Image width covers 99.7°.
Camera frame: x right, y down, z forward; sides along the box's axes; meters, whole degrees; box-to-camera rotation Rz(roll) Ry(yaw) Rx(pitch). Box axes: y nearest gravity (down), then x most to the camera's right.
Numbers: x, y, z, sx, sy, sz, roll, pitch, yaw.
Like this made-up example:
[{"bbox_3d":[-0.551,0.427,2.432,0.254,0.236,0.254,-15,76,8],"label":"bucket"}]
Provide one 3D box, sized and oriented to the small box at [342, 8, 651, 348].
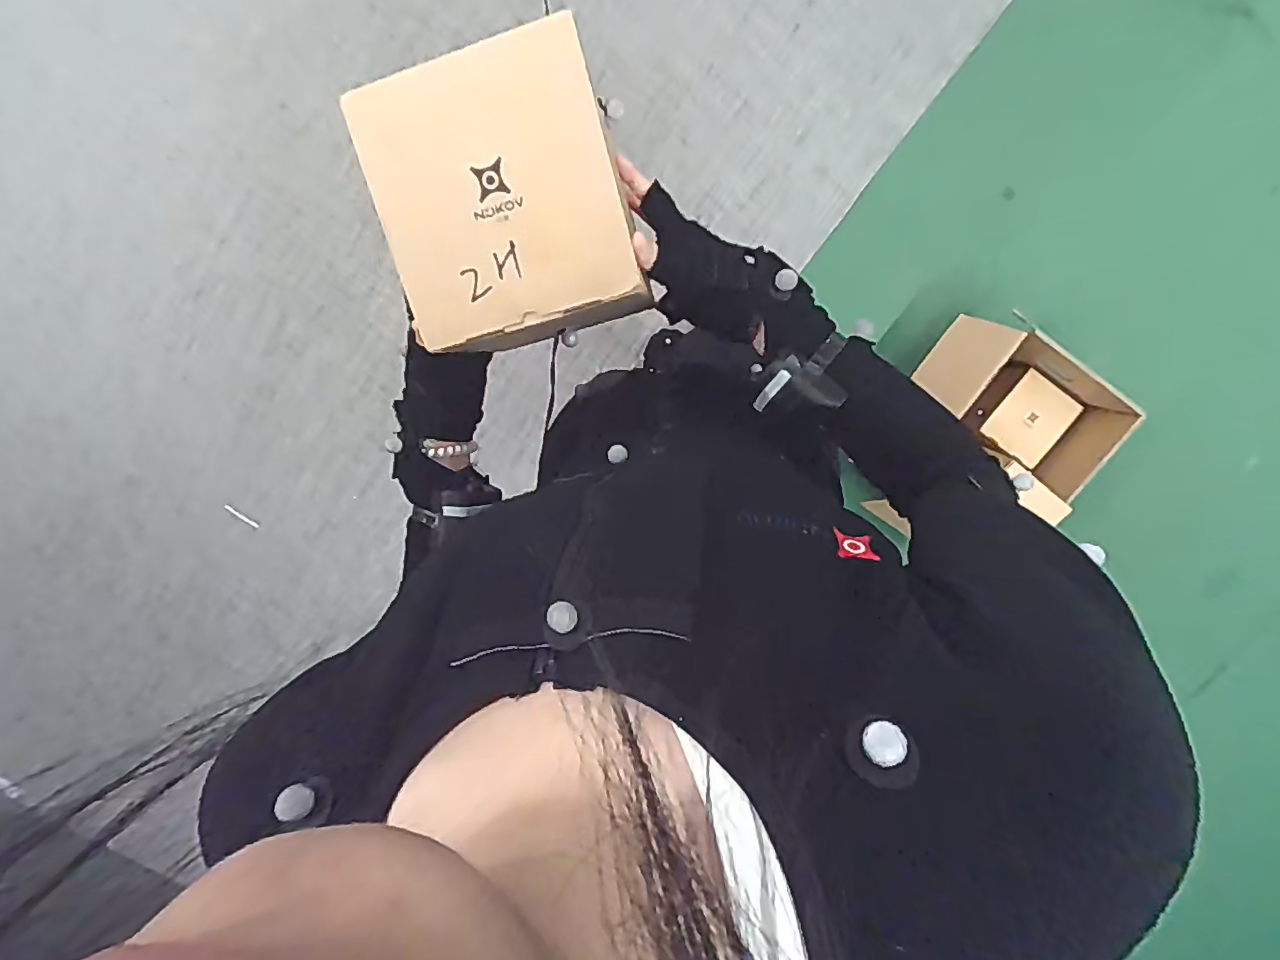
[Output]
[{"bbox_3d":[-0.092,-0.212,0.439,0.168,0.176,0.179,-14,102,8],"label":"small box"}]
